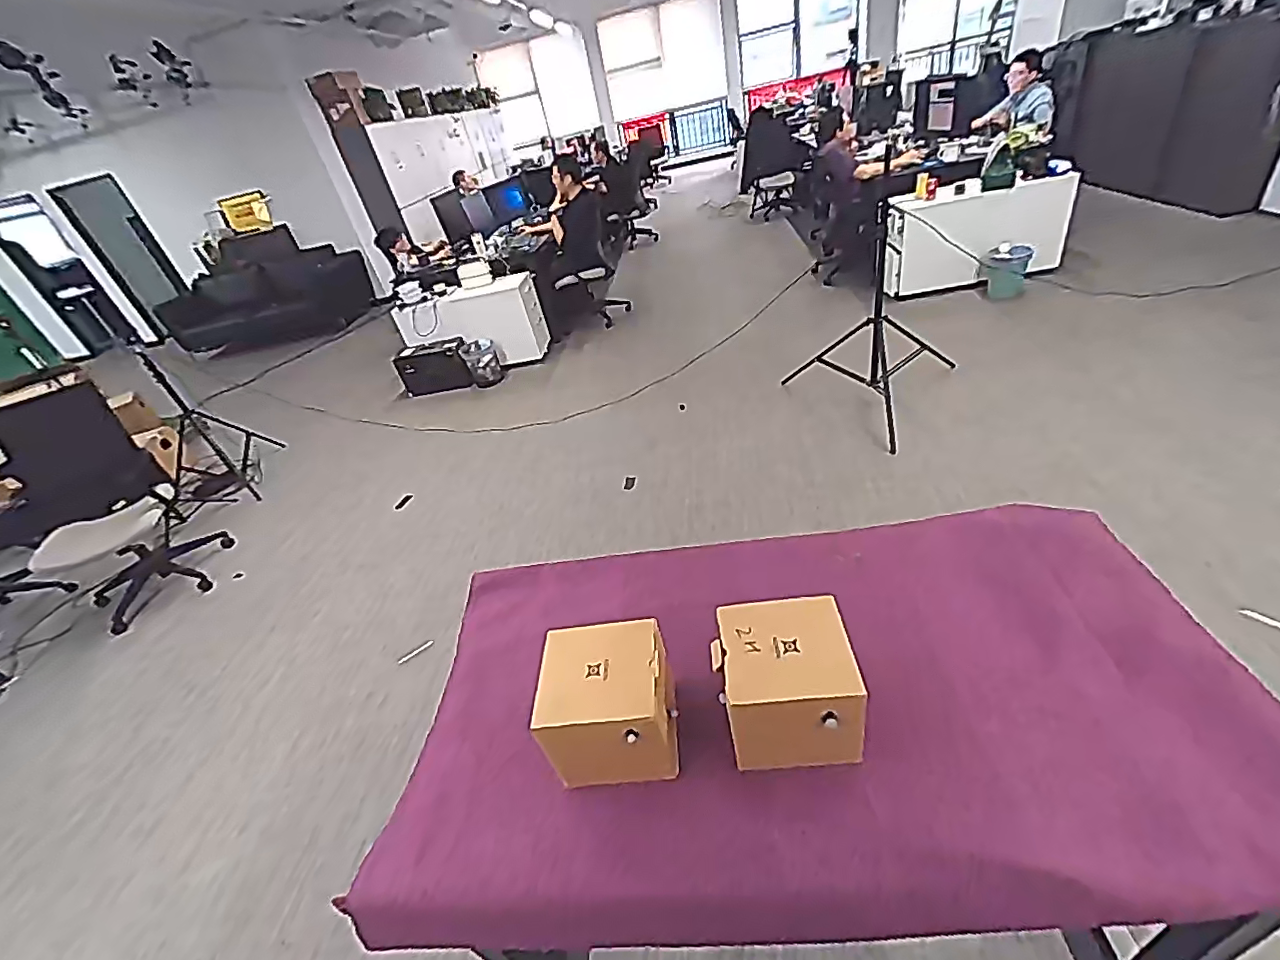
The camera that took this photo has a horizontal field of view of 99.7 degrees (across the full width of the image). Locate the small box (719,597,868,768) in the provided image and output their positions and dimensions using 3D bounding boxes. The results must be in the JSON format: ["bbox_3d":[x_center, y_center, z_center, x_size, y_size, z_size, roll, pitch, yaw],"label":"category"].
[{"bbox_3d":[0.216,0.296,0.789,0.179,0.176,0.168,-9,34,8],"label":"small box"}]

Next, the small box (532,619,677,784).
[{"bbox_3d":[-0.045,0.340,0.824,0.179,0.176,0.168,-9,35,6],"label":"small box"}]
